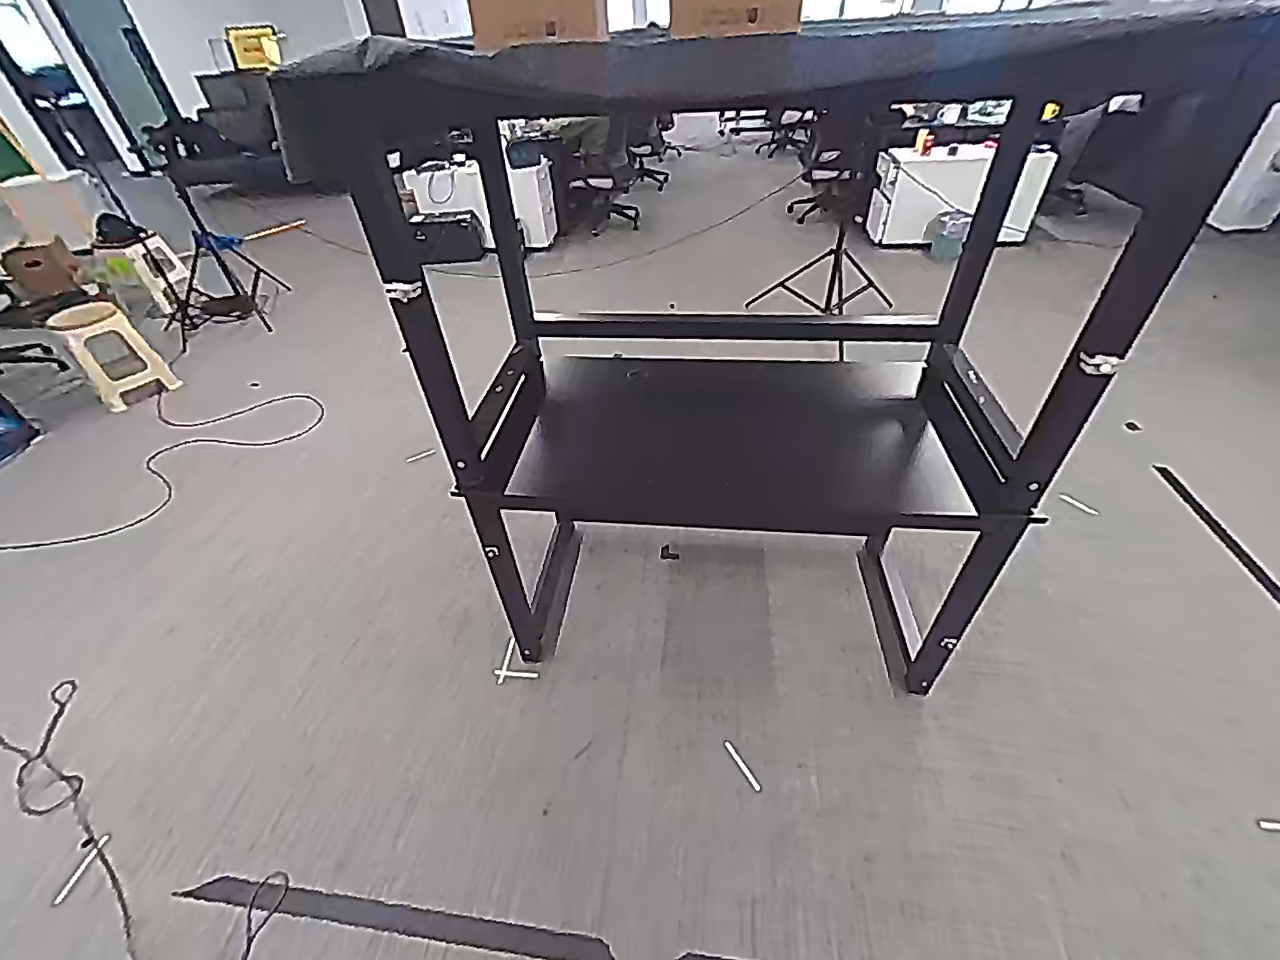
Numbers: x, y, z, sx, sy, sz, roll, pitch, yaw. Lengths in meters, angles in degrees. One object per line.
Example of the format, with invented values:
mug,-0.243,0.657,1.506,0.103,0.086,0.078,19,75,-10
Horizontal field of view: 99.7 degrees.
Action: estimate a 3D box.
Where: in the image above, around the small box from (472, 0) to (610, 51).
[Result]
small box,-0.131,-0.681,0.717,0.168,0.176,0.179,0,40,3
